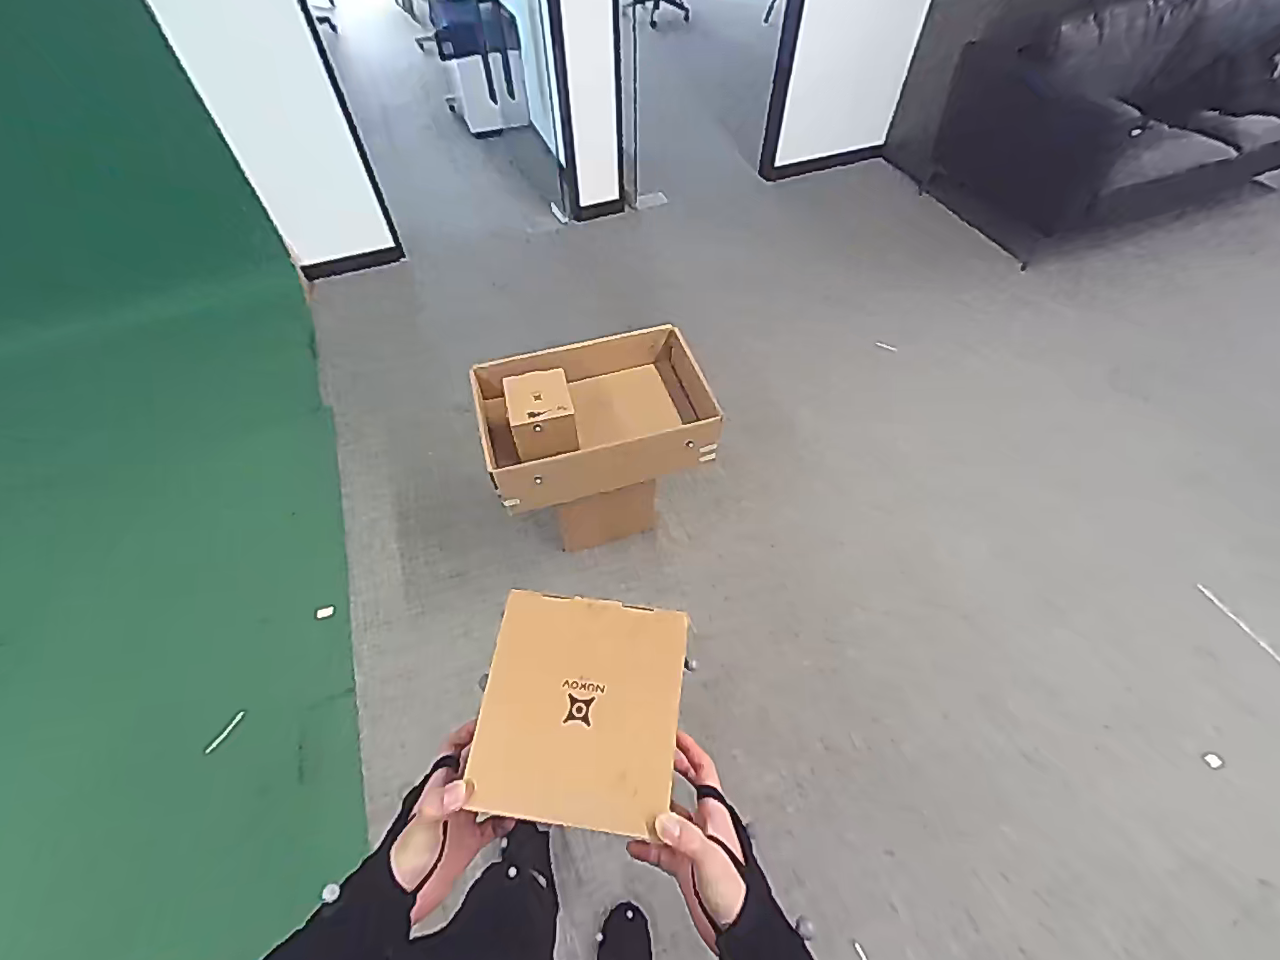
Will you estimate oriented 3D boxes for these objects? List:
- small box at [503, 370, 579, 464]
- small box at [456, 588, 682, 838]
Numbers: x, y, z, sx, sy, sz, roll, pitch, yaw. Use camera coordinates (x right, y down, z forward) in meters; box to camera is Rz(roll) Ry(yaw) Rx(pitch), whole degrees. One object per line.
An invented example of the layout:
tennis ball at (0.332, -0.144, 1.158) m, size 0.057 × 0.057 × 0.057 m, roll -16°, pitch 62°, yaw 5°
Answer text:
small box at (-0.268, -0.170, 1.473) m, size 0.168 × 0.176 × 0.179 m, roll -13°, pitch 55°, yaw -8°
small box at (-0.052, 0.222, 0.525) m, size 0.168 × 0.176 × 0.179 m, roll 7°, pitch 63°, yaw 4°
